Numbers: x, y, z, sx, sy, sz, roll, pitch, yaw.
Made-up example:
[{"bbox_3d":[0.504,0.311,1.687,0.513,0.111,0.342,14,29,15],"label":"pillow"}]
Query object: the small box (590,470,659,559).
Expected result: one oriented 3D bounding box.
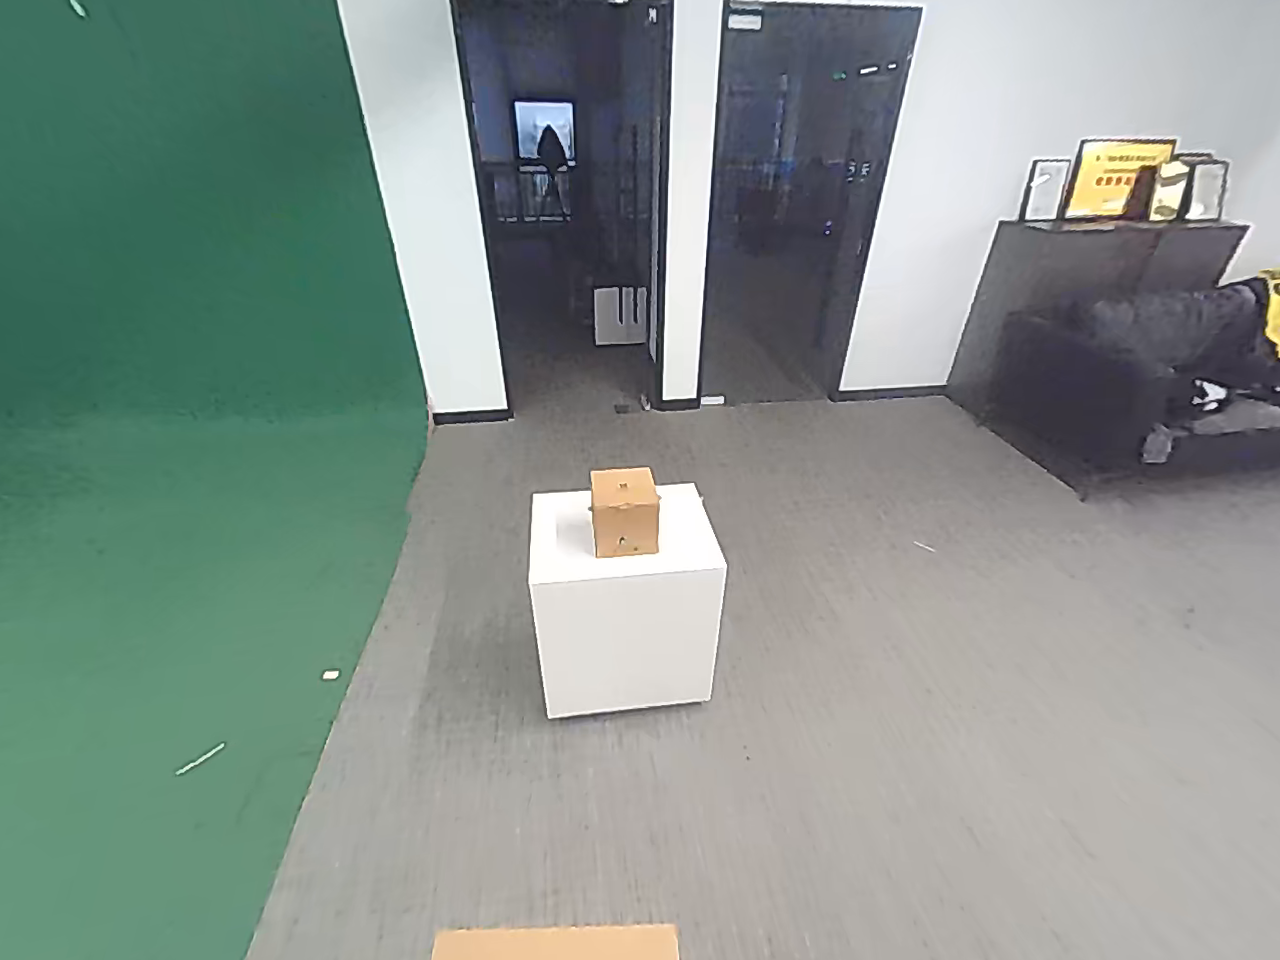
[{"bbox_3d":[-0.047,0.091,1.442,0.168,0.176,0.179,-4,32,-7],"label":"small box"}]
